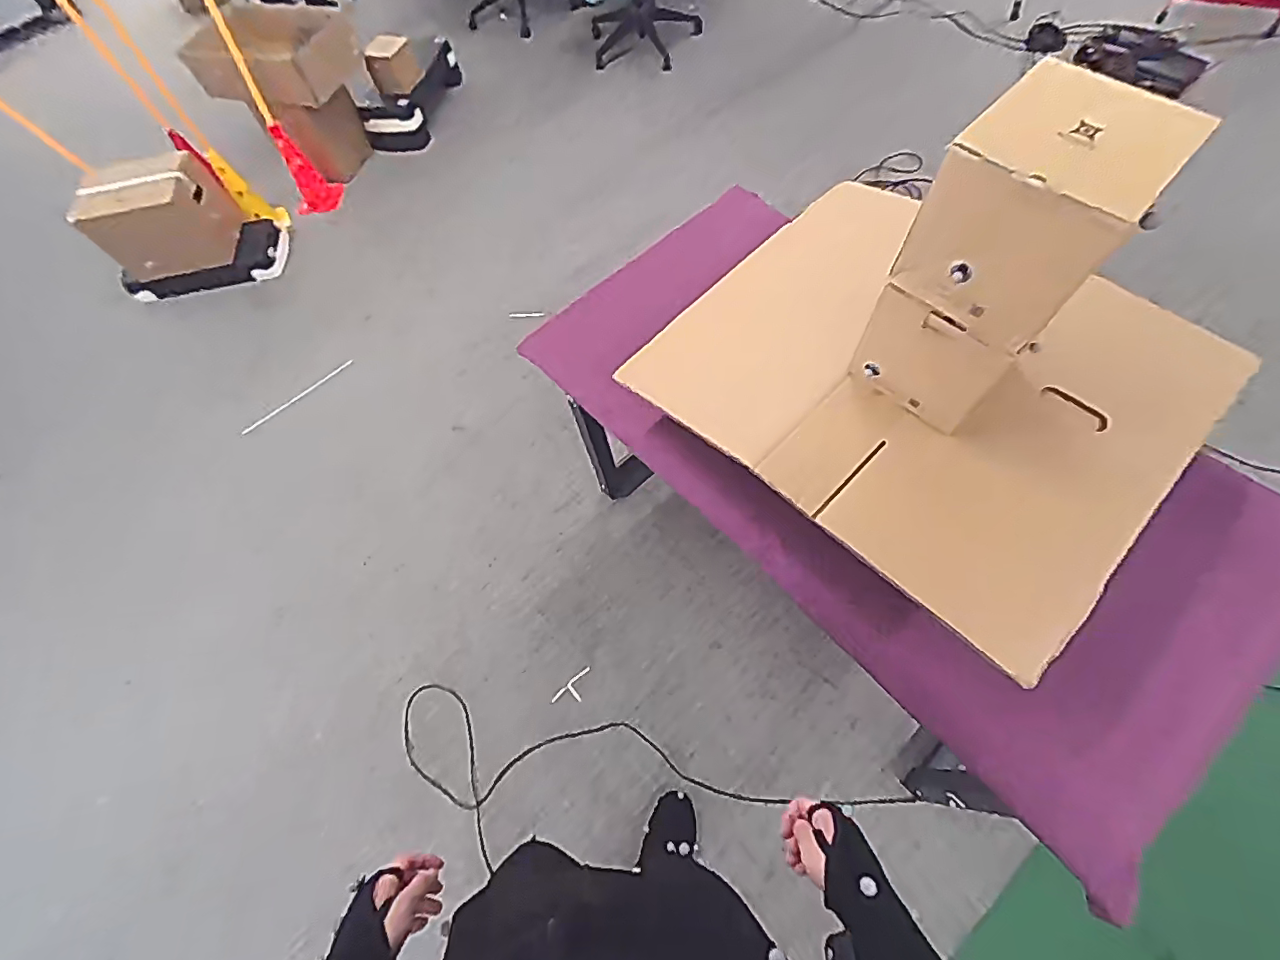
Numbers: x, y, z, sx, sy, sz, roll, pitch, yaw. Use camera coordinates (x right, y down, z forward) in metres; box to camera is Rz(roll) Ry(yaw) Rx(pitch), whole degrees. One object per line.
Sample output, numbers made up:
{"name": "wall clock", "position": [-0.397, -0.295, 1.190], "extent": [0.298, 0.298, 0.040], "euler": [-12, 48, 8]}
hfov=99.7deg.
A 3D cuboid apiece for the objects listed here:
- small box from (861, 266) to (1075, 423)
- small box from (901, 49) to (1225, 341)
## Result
{"name": "small box", "position": [0.412, -0.206, 0.698], "extent": [0.179, 0.176, 0.168], "euler": [-43, 69, -15]}
{"name": "small box", "position": [0.405, -0.281, 0.554], "extent": [0.168, 0.176, 0.179], "euler": [41, 75, 19]}
